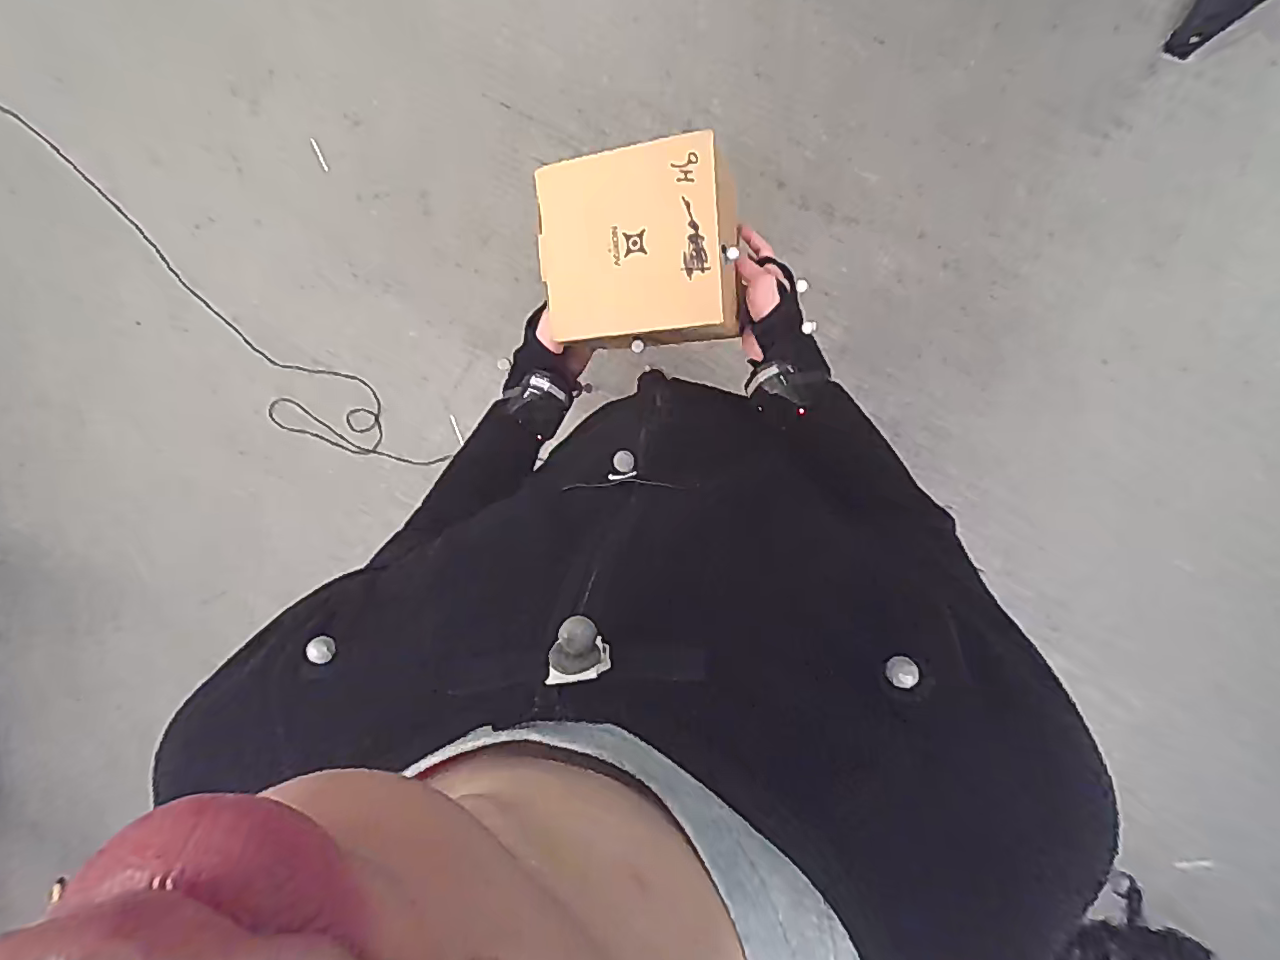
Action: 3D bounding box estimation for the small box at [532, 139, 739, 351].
[{"bbox_3d":[0.006,-0.232,0.586,0.179,0.176,0.168,-1,101,18],"label":"small box"}]
